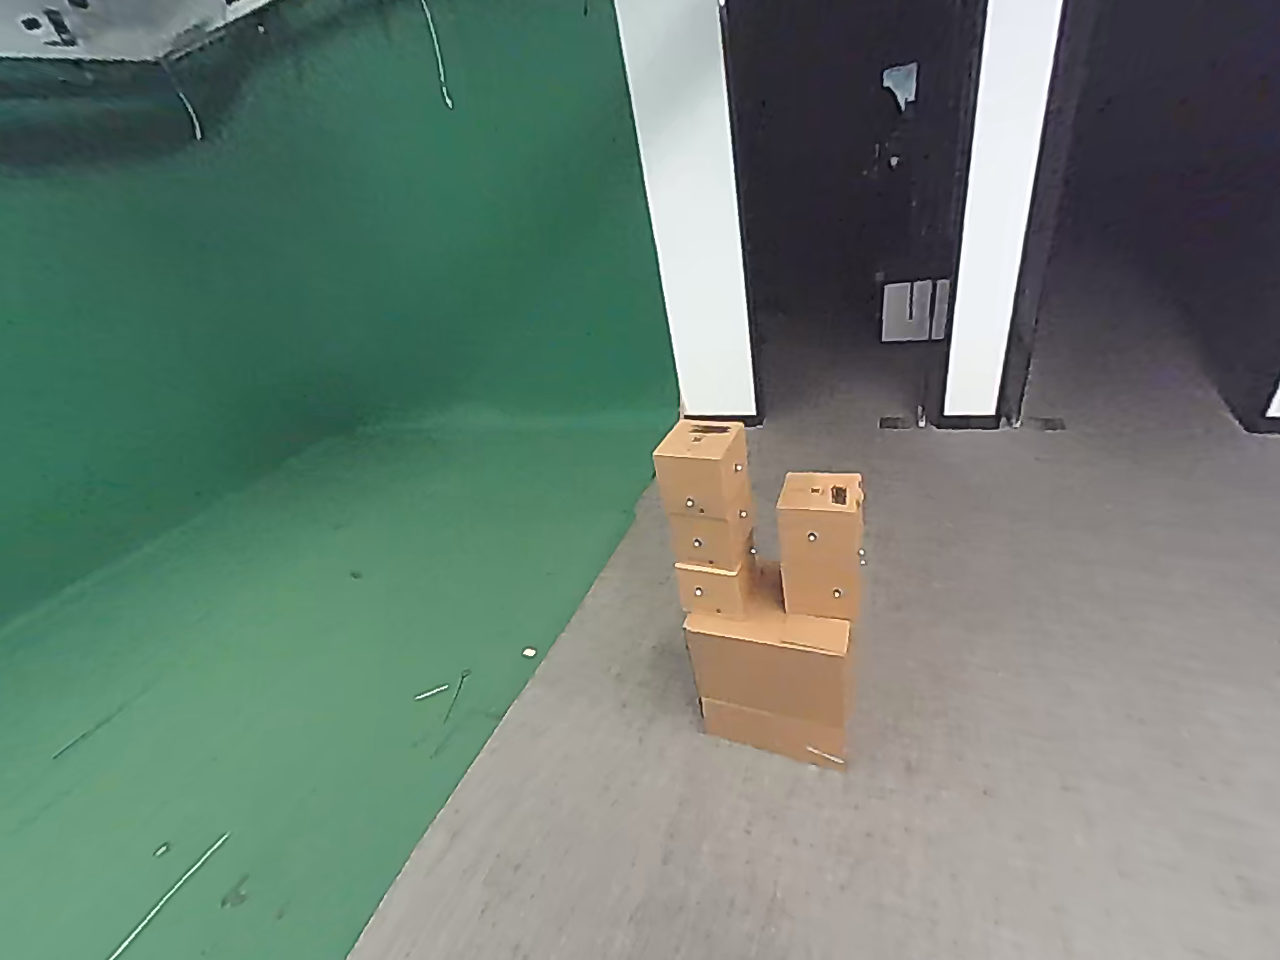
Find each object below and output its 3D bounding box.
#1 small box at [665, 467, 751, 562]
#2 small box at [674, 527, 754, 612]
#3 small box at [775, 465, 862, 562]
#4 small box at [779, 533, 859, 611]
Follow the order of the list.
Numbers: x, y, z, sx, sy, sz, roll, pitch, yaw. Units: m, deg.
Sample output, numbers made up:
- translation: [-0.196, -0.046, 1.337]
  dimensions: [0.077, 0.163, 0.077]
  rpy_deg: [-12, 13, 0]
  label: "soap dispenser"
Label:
- translation: [0.184, 0.087, 1.390]
  dimensions: [0.168, 0.176, 0.179]
  rpy_deg: [7, 36, 26]
  label: "small box"
- translation: [0.207, 0.231, 1.466]
  dimensions: [0.168, 0.176, 0.179]
  rpy_deg: [6, 36, 25]
  label: "small box"
- translation: [0.438, 0.081, 1.312]
  dimensions: [0.179, 0.176, 0.168]
  rpy_deg: [2, 34, 26]
  label: "small box"
- translation: [0.468, 0.218, 1.398]
  dimensions: [0.179, 0.176, 0.168]
  rpy_deg: [2, 34, 25]
  label: "small box"
